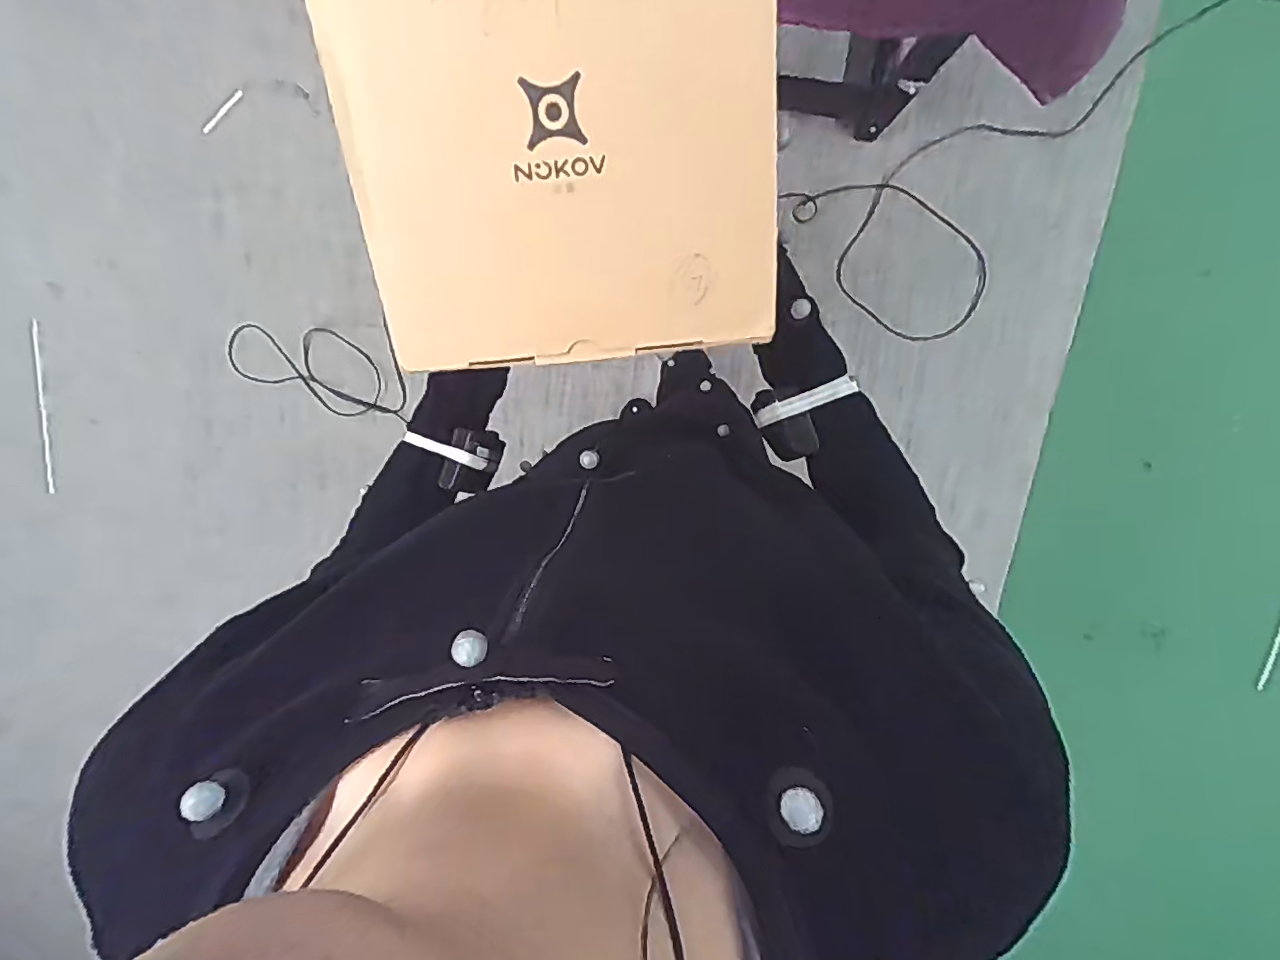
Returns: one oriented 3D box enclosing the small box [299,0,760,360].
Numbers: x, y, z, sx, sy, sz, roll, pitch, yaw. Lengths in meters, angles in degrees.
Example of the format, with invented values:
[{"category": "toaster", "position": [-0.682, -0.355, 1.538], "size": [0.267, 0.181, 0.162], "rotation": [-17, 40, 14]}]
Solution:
[{"category": "small box", "position": [-0.035, -0.167, 0.278], "size": [0.168, 0.176, 0.179], "rotation": [-4, 111, 2]}]
